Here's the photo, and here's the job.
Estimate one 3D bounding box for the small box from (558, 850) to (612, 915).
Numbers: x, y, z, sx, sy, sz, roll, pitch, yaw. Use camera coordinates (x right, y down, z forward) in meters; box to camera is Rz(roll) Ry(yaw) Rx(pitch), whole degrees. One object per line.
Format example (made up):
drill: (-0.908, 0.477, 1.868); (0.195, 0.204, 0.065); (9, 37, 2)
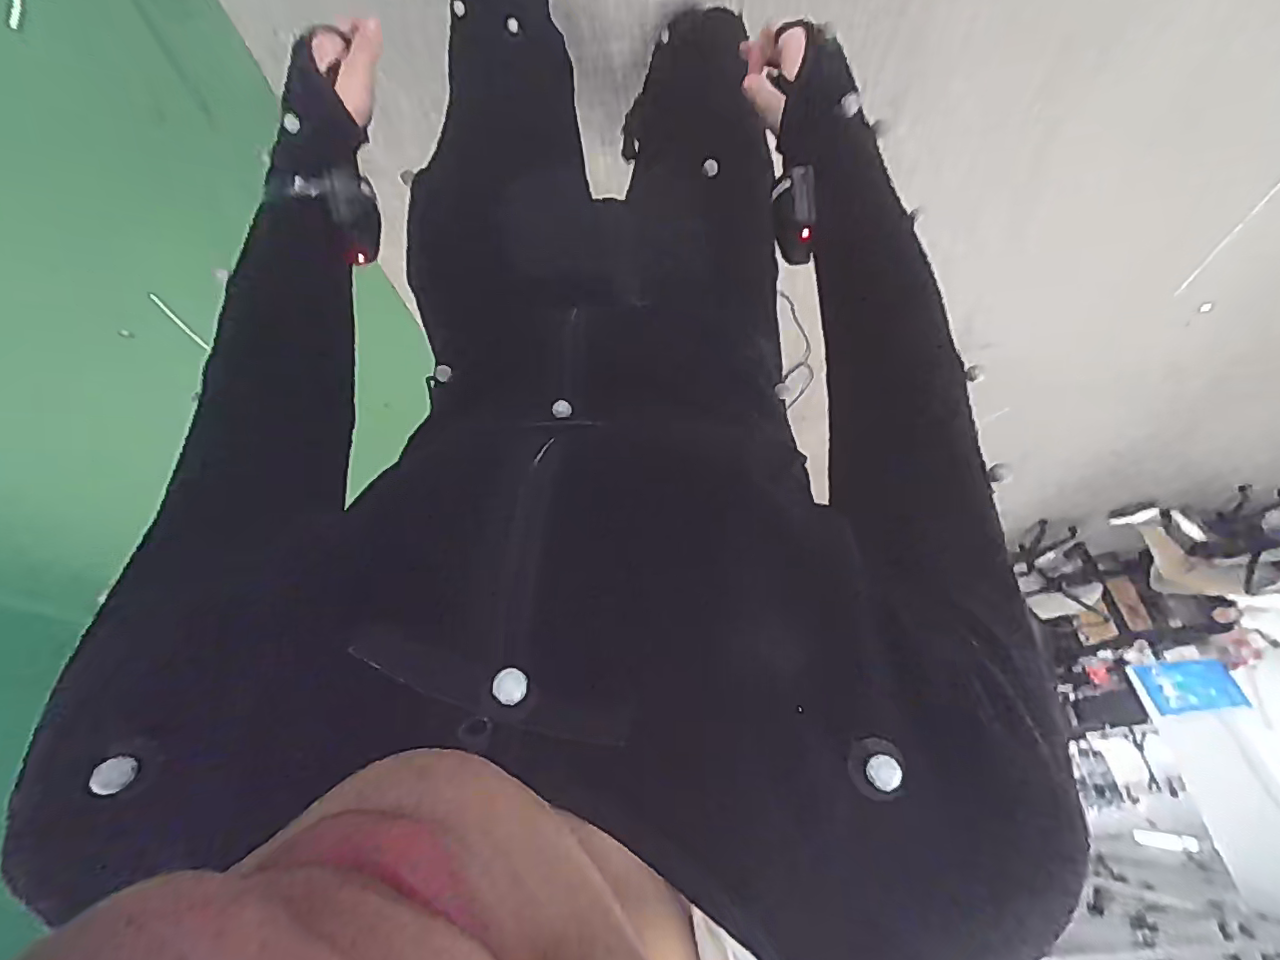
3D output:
small box: (-0.202, 1.464, 1.978); (0.179, 0.176, 0.168); (-6, 149, -2)
